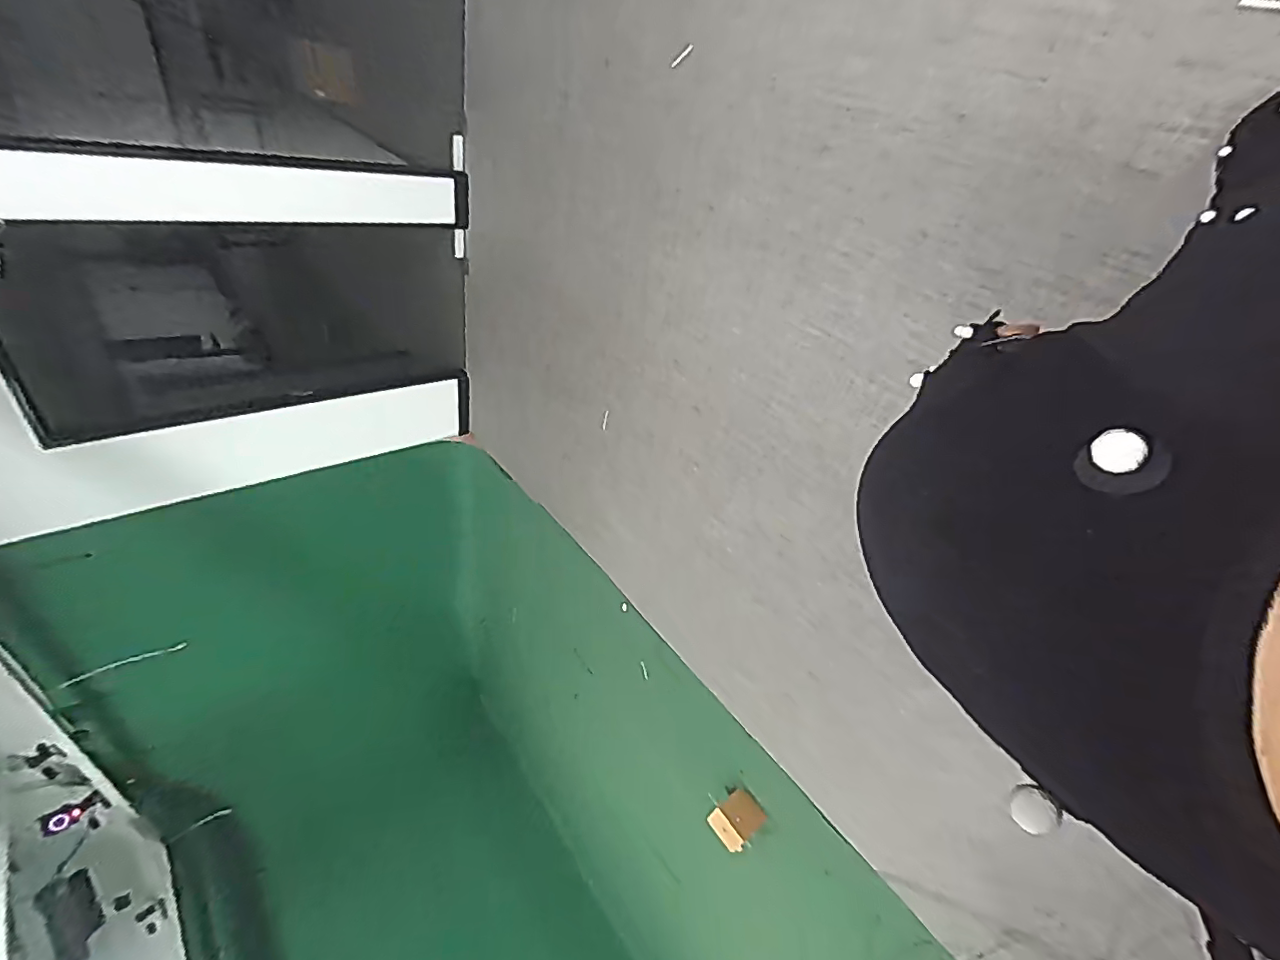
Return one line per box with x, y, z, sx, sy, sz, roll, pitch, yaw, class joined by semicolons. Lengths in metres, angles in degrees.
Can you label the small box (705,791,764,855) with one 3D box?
0.442;1.592;2.524;0.179;0.176;0.168;45;135;29;small box
